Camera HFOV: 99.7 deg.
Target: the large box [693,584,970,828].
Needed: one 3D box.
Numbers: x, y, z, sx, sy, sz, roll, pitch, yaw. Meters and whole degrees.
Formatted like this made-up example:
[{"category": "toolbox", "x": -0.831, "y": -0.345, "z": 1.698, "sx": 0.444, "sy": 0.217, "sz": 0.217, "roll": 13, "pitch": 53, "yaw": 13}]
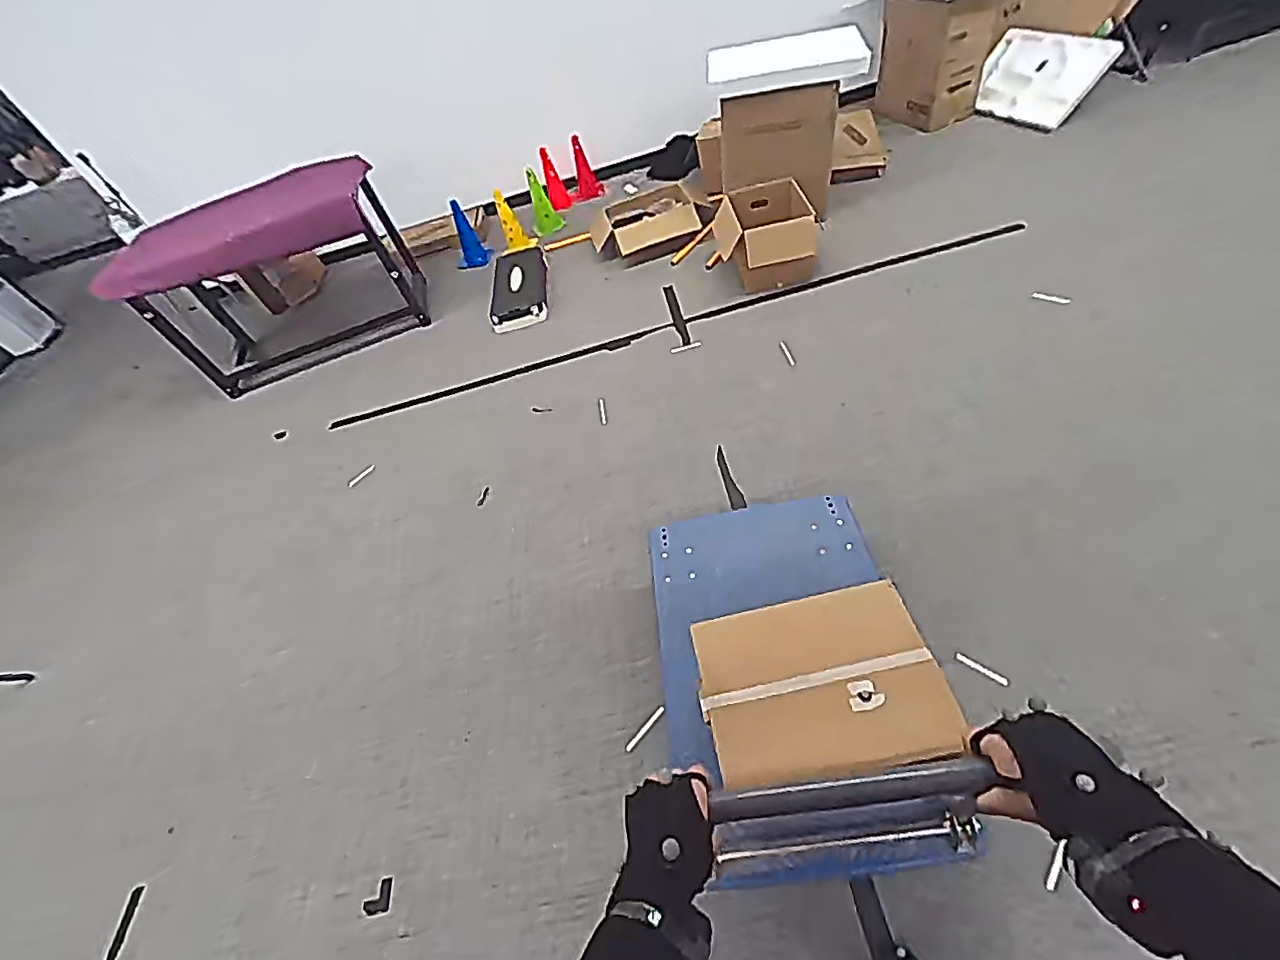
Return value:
[{"category": "large box", "x": 0.347, "y": 0.459, "z": 1.084, "sx": 0.408, "sy": 0.320, "sz": 0.320, "roll": -14, "pitch": 49, "yaw": 3}]
